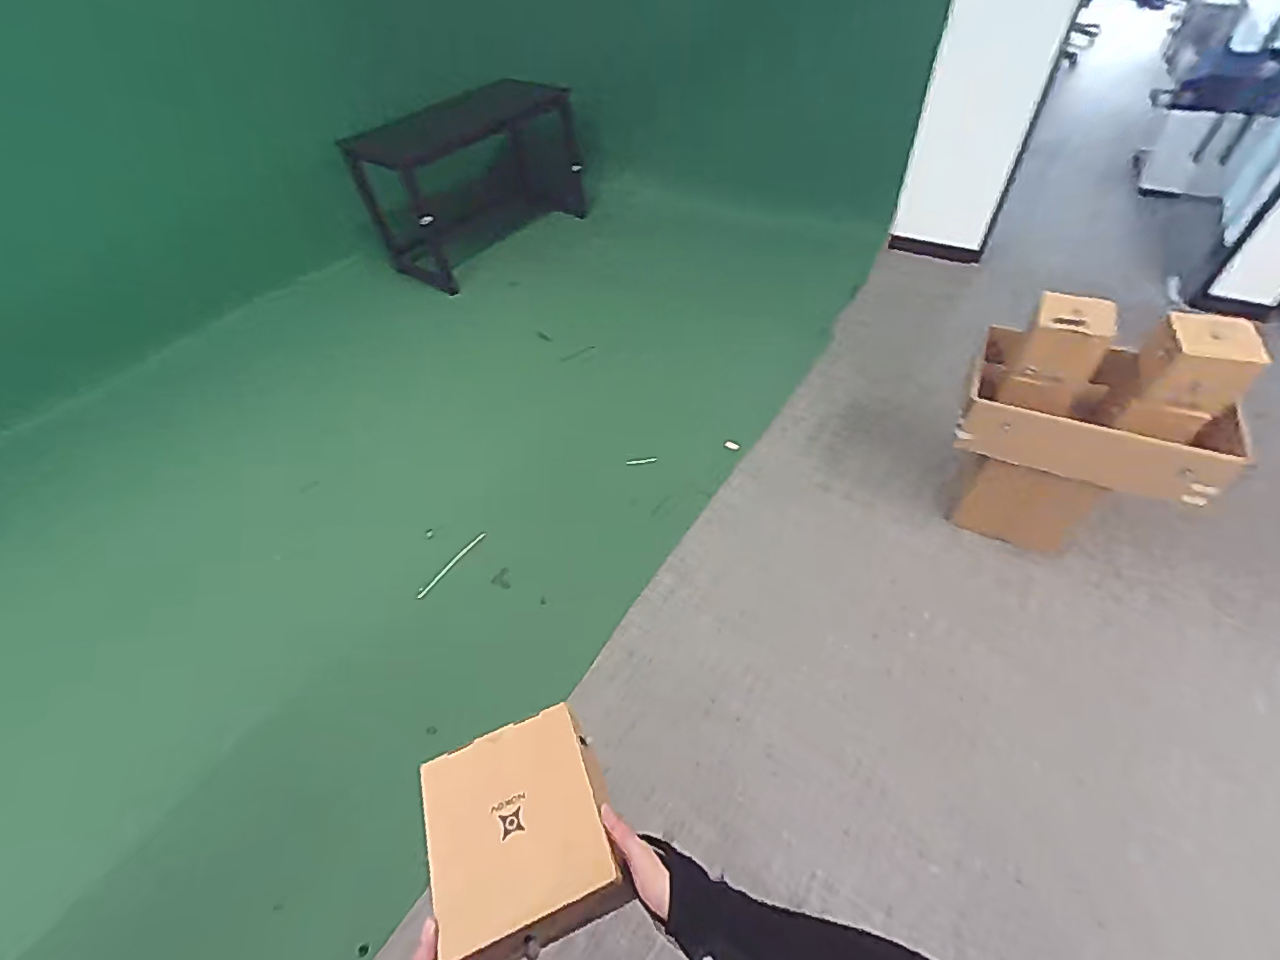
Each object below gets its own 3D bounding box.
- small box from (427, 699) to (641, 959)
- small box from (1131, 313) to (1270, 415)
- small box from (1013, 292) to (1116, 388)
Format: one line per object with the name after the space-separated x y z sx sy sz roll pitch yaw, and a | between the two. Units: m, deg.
-0.107 0.373 0.576 0.168 0.176 0.179 -20 48 -9 | small box
1.380 -0.287 1.347 0.168 0.176 0.179 14 53 17 | small box
1.131 -0.372 1.449 0.168 0.176 0.179 20 54 22 | small box
